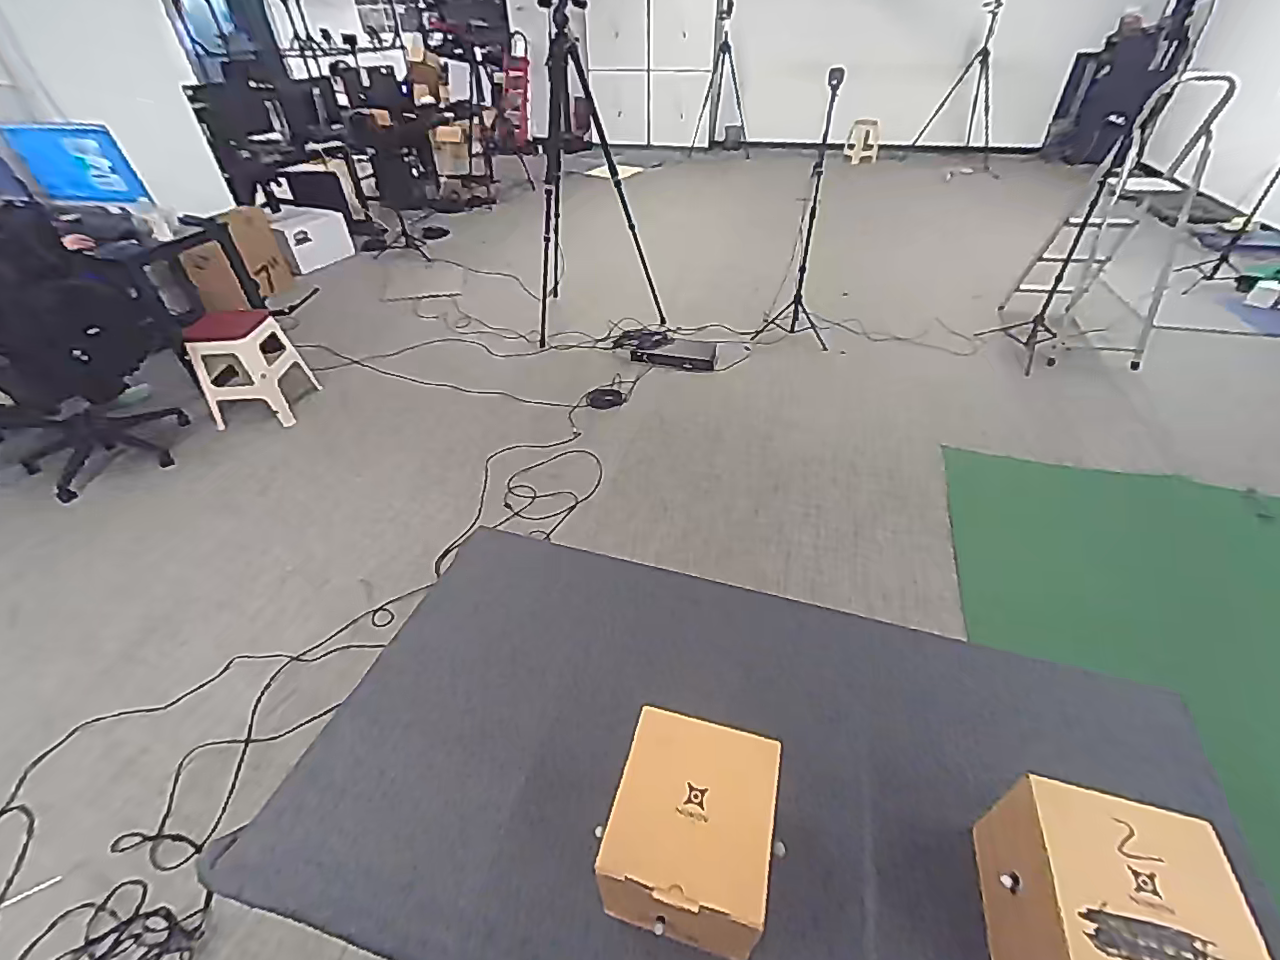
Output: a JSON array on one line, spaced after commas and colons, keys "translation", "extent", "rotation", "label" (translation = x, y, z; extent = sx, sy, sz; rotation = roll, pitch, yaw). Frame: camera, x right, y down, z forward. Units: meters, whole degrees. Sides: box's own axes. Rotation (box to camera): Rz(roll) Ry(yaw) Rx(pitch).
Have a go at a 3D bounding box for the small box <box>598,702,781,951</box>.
[{"translation": [0.058, 0.396, 0.623], "extent": [0.168, 0.176, 0.179], "rotation": [11, 42, 12], "label": "small box"}]
